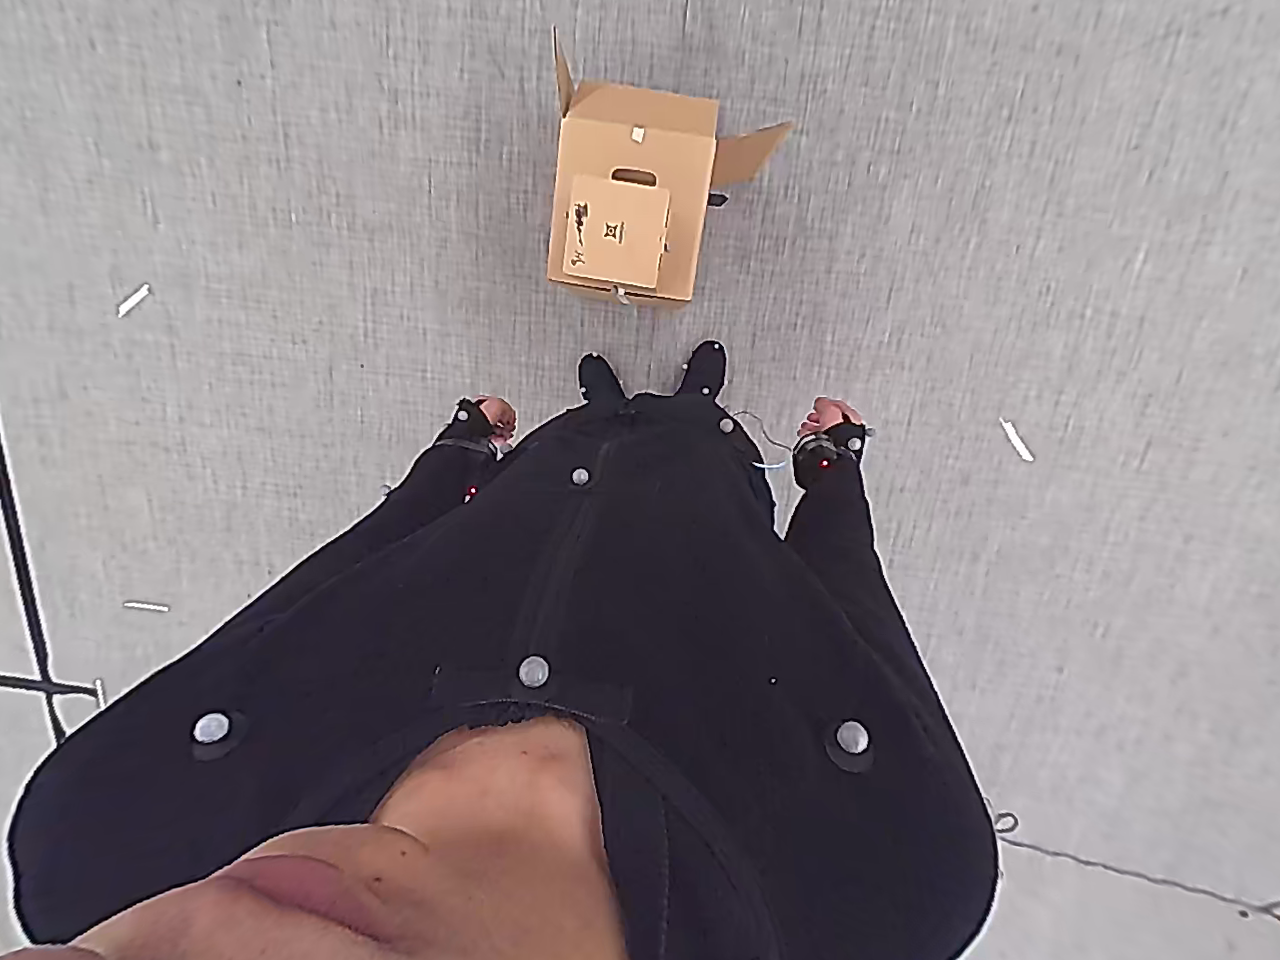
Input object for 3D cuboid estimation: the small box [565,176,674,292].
[{"bbox_3d":[-0.036,-0.463,1.043,0.179,0.176,0.168,10,107,0],"label":"small box"}]
